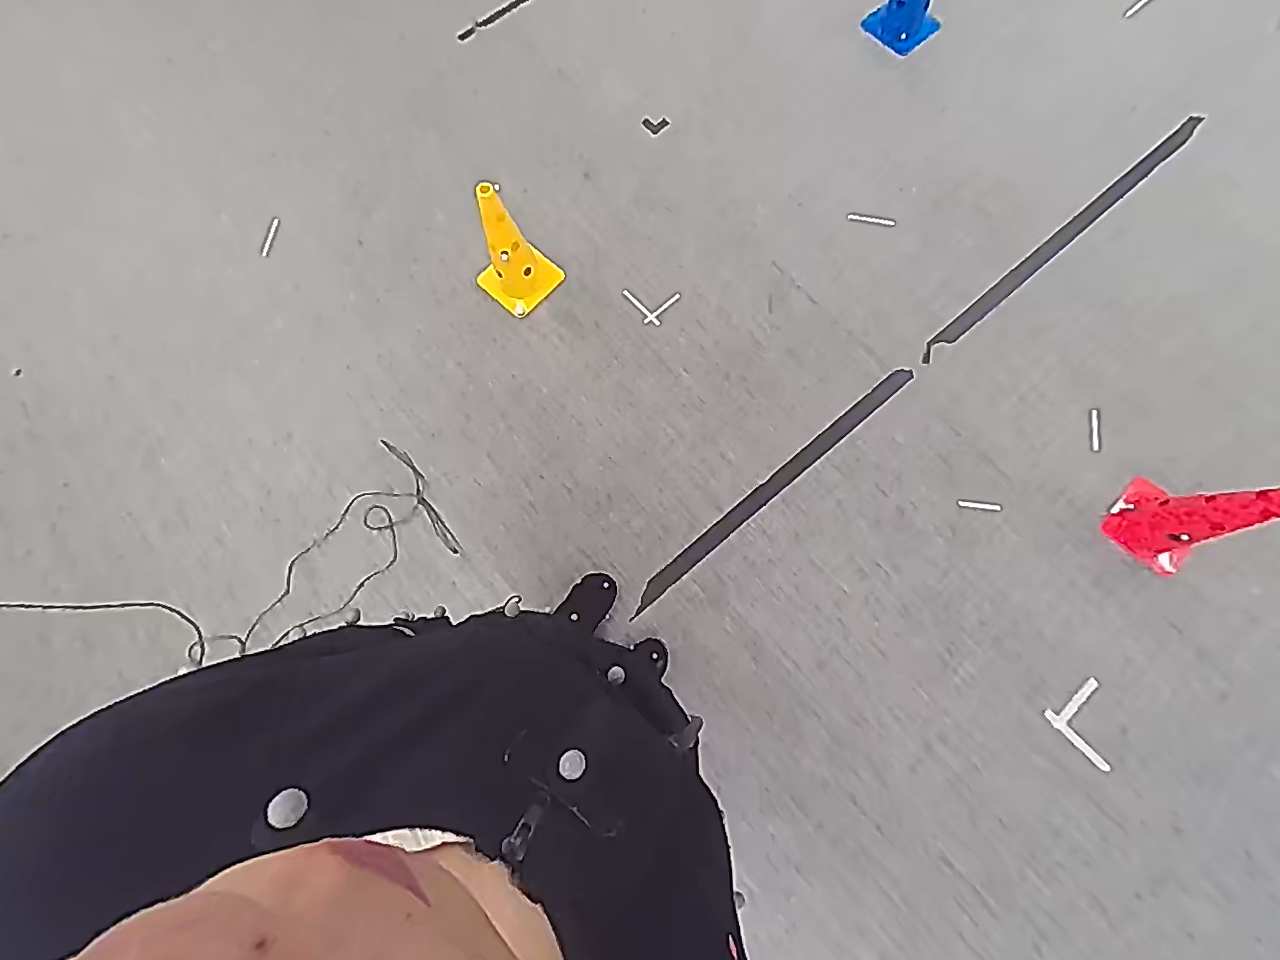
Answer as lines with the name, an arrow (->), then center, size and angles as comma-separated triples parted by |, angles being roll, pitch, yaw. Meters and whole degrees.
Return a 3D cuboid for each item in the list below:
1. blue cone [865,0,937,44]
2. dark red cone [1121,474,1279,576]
blue cone -> 0.857, -1.570, 1.628 | 0.193, 0.380, 0.192 | -39, 77, -7
dark red cone -> 1.311, 0.070, 1.178 | 0.201, 0.394, 0.202 | 41, 81, 12
